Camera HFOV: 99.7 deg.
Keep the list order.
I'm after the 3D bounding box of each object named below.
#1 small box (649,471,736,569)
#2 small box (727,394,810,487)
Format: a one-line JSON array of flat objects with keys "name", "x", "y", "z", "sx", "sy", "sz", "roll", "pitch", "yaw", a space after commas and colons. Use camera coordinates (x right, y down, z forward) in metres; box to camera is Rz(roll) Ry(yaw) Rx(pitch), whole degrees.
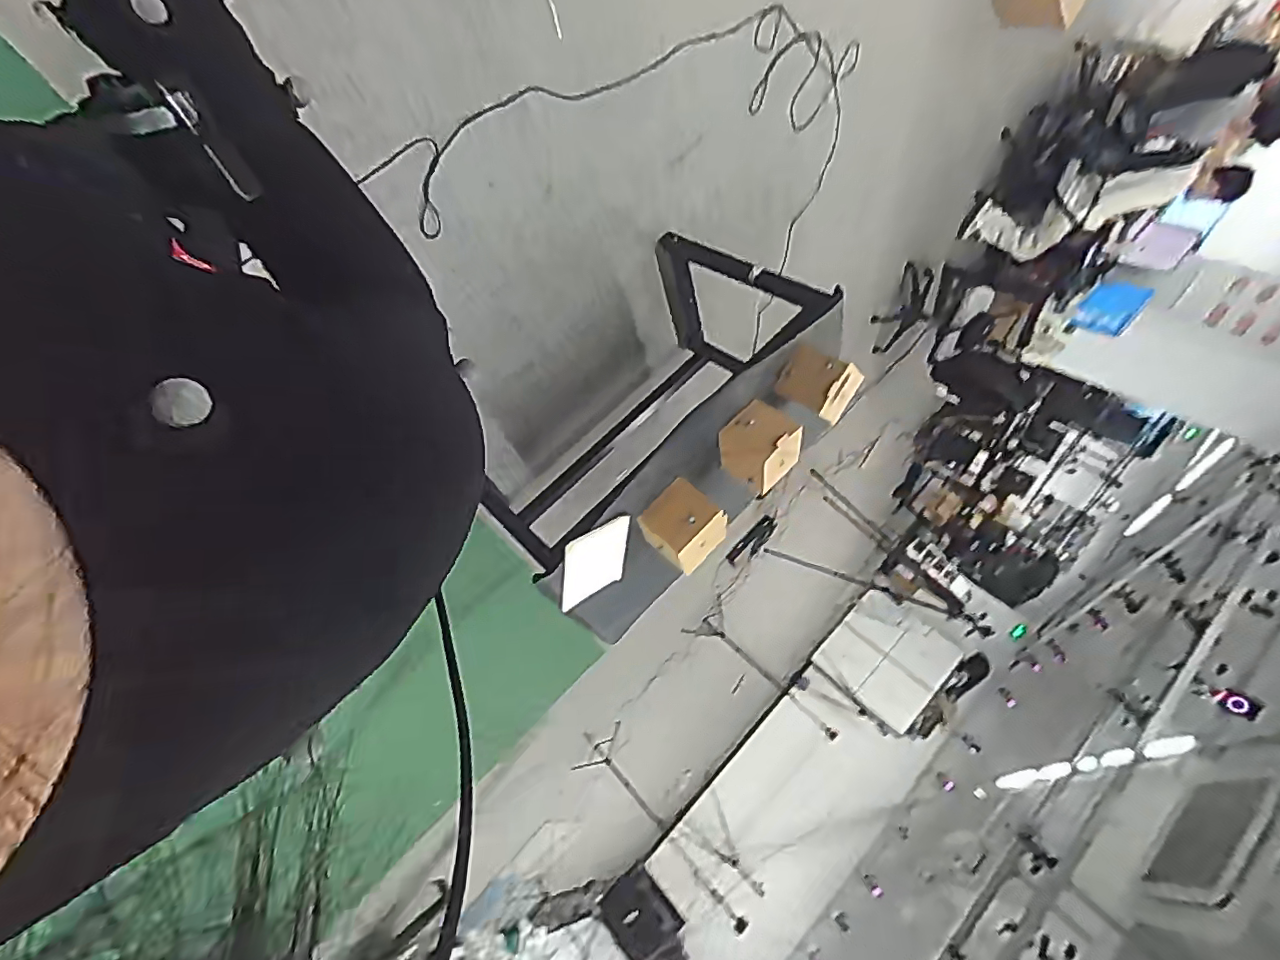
[{"name": "small box", "x": 0.143, "y": 0.111, "z": 1.520, "sx": 0.179, "sy": 0.176, "sz": 0.168, "roll": -45, "pitch": 148, "yaw": -13}, {"name": "small box", "x": 0.373, "y": -0.119, "z": 1.583, "sx": 0.168, "sy": 0.176, "sz": 0.179, "roll": -43, "pitch": 147, "yaw": -16}]
